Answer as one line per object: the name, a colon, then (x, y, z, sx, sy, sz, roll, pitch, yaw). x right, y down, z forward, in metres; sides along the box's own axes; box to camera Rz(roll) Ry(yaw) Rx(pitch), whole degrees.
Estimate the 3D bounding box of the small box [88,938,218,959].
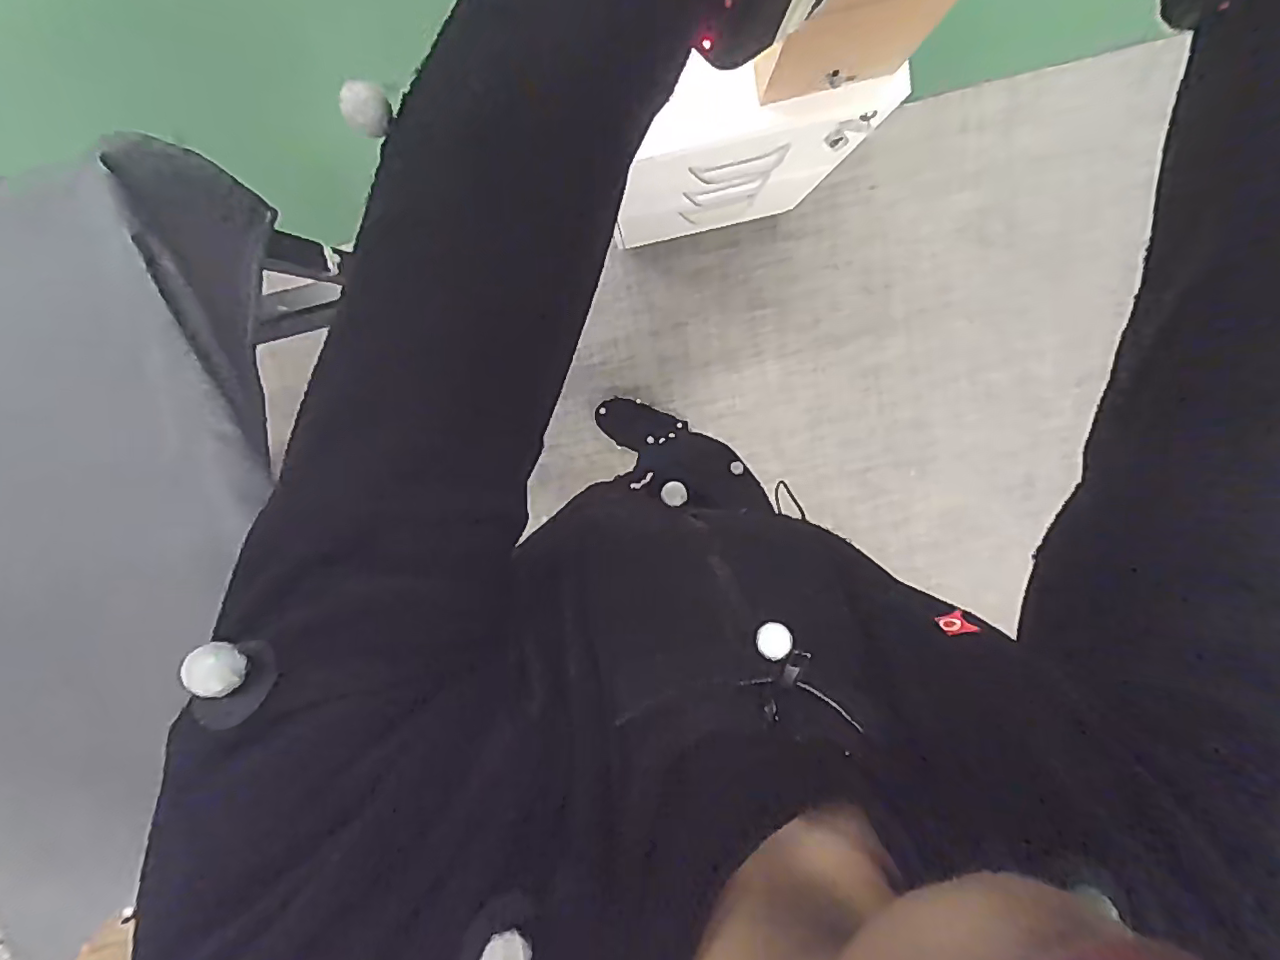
small box: (-0.526, 0.597, 0.525, 0.179, 0.176, 0.168, -17, 102, 6)
